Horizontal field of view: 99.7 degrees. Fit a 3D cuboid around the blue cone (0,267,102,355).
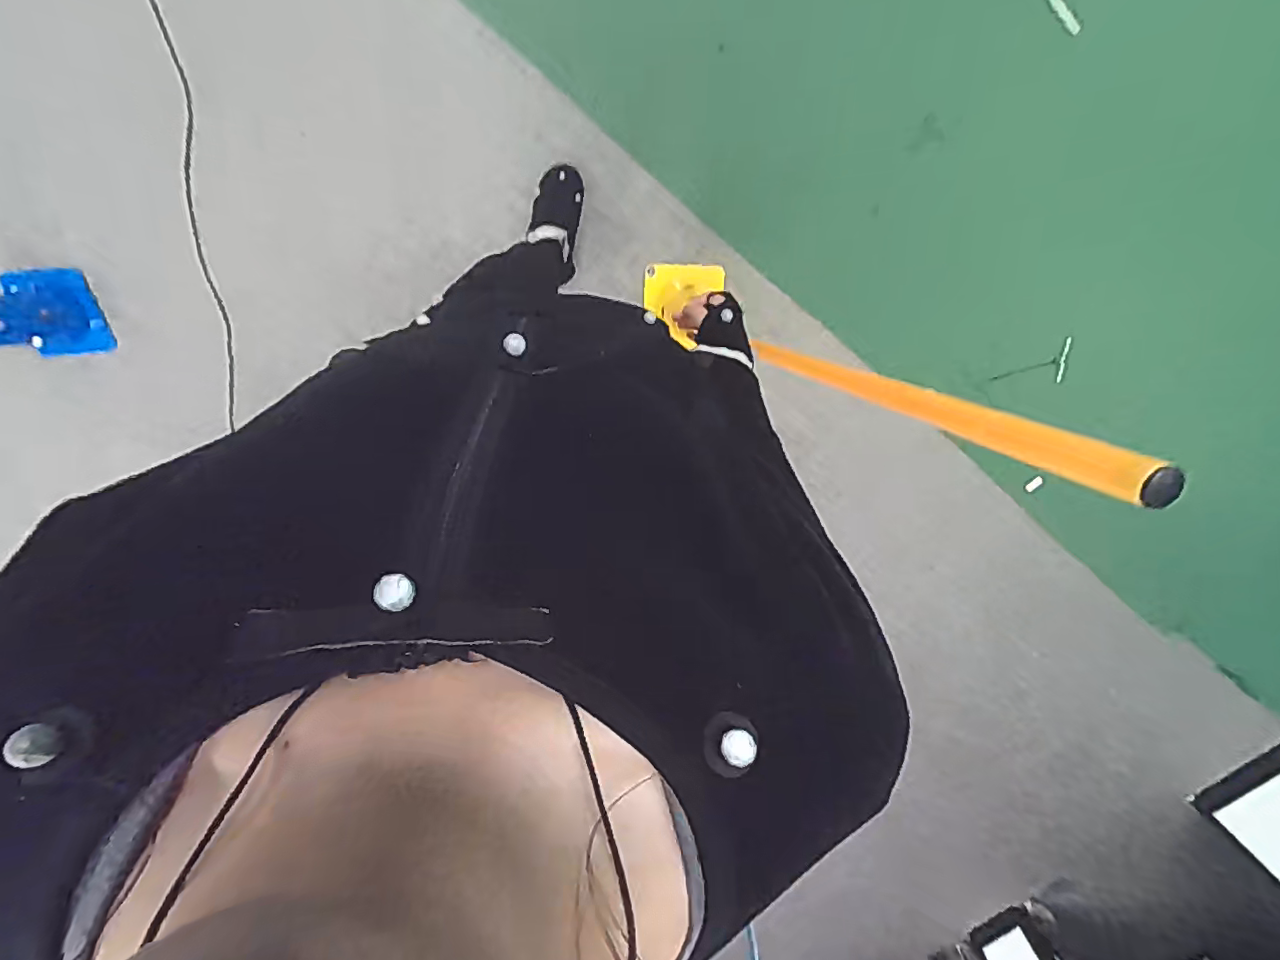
[{"bbox_3d":[-1.412,-0.327,1.149,0.193,0.380,0.192,-6,117,2],"label":"blue cone"}]
